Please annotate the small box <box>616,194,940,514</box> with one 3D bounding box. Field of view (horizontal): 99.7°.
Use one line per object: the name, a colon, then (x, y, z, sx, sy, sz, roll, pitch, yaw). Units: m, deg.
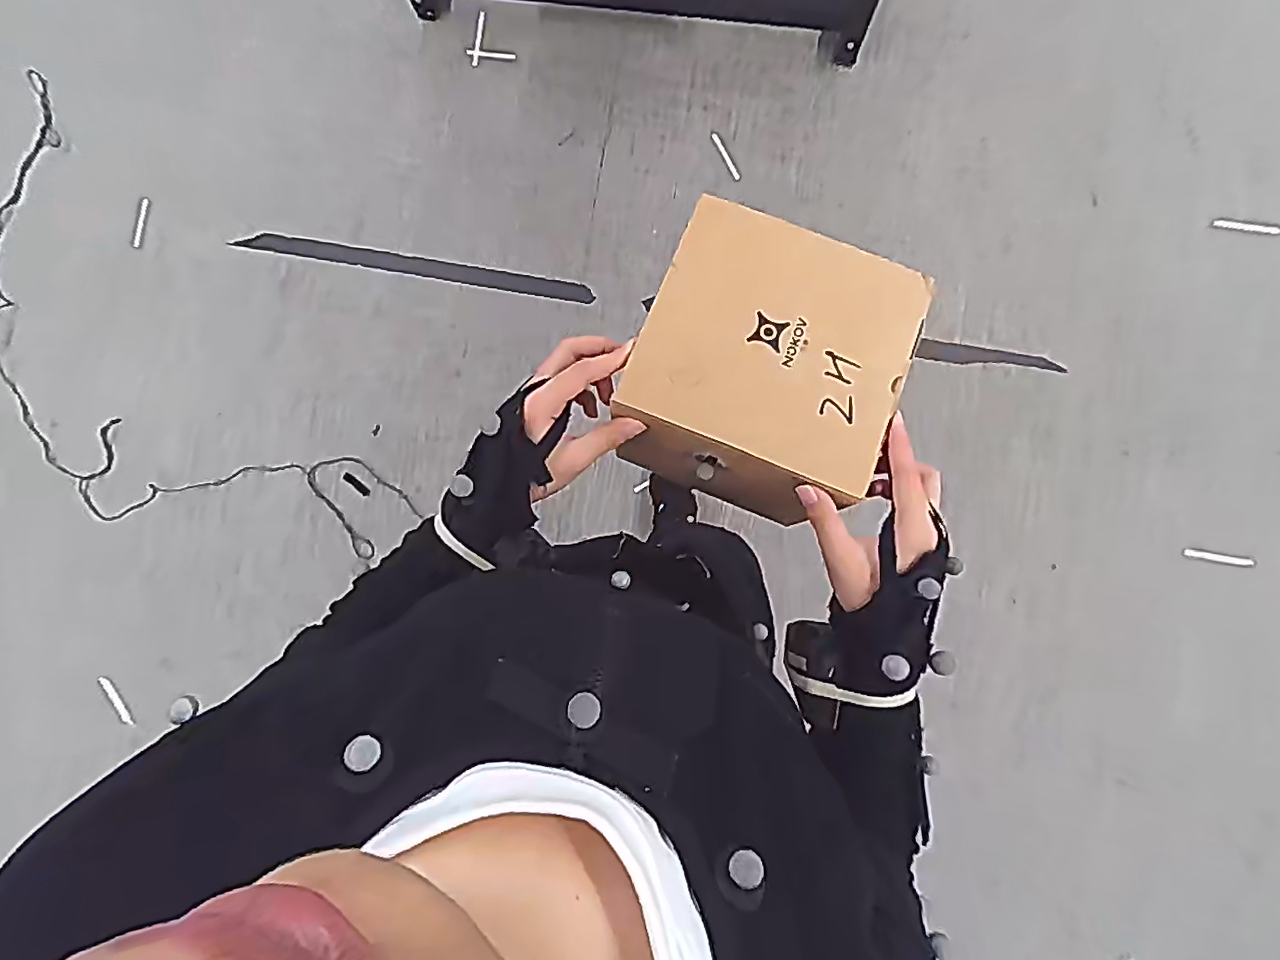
small box: (0.093, -0.081, 0.436, 0.179, 0.176, 0.168, 22, 81, 3)
